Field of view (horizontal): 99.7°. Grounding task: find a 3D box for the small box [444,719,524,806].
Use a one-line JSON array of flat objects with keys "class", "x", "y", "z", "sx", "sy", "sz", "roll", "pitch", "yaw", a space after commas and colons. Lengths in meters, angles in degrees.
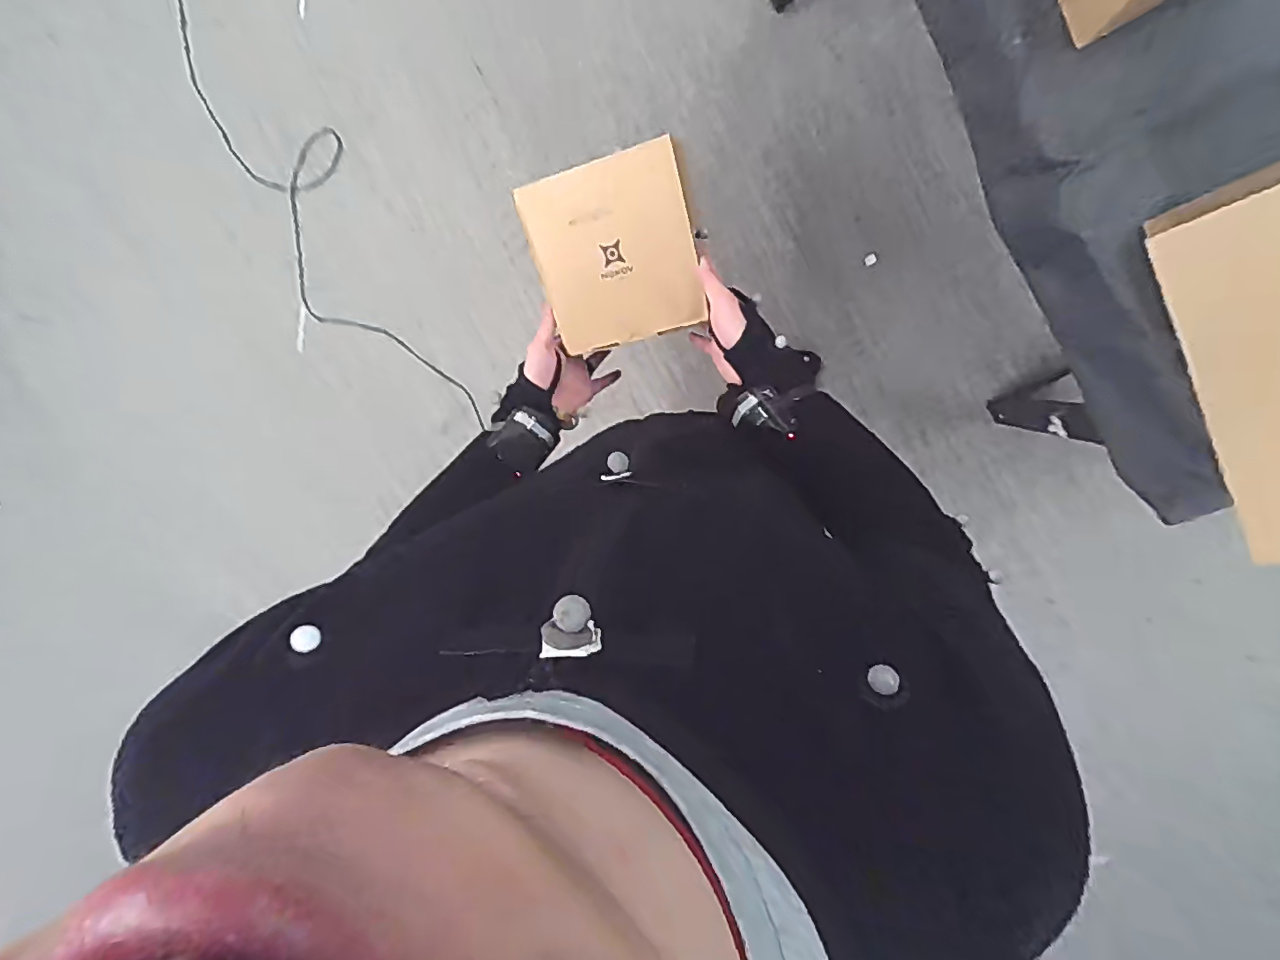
[{"class": "small box", "x": -0.512, "y": 0.942, "z": 1.816, "sx": 0.179, "sy": 0.176, "sz": 0.168, "roll": -30, "pitch": 96, "yaw": 15}]
